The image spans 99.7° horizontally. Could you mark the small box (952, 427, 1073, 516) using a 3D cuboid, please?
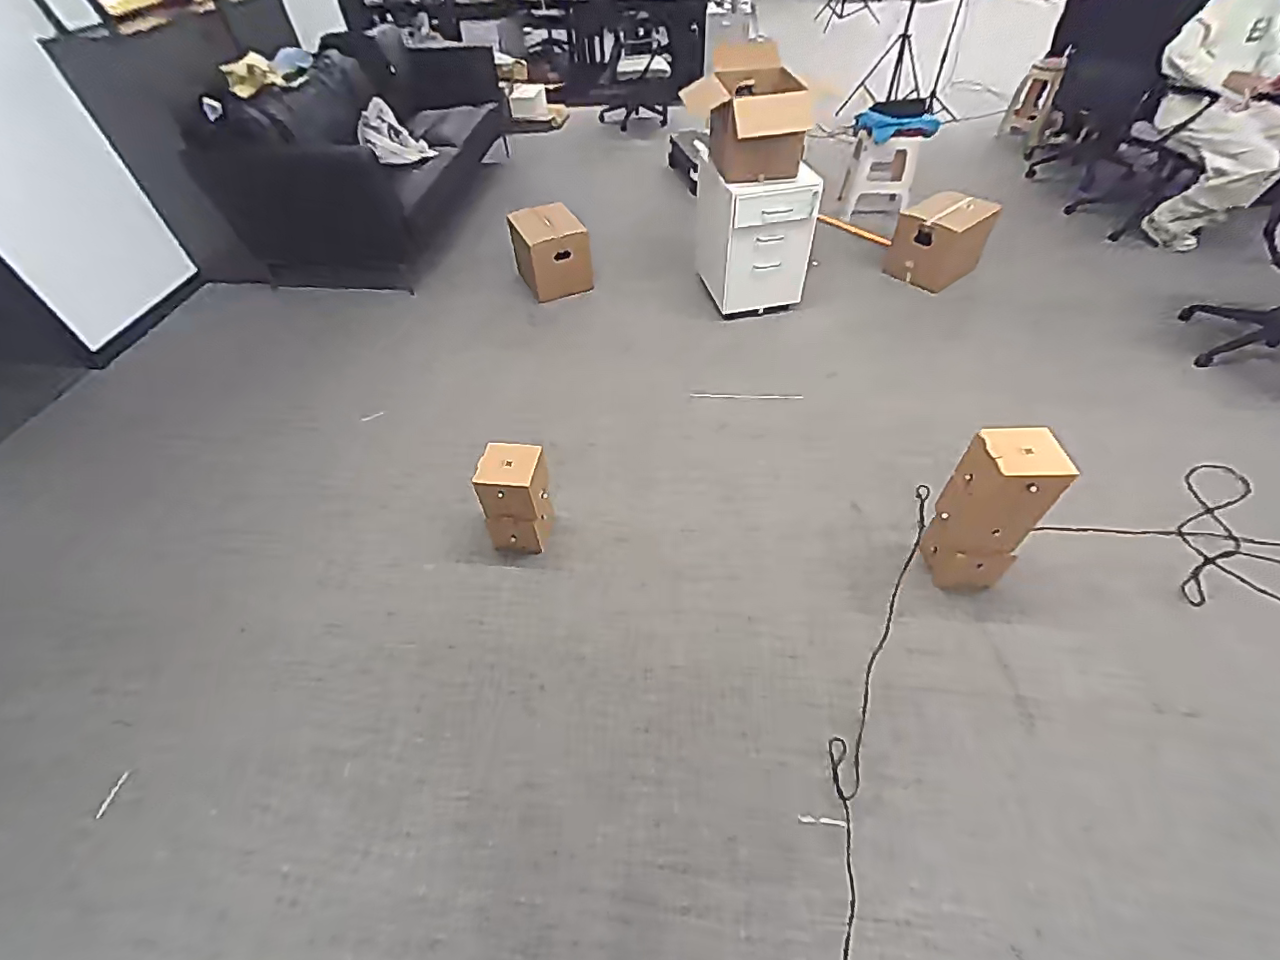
[{"bbox_3d":[0.948,-0.020,1.396,0.179,0.176,0.168,-2,48,3],"label":"small box"}]

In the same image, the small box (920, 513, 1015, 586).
[{"bbox_3d":[0.972,0.208,1.629,0.179,0.176,0.168,-3,48,1],"label":"small box"}]

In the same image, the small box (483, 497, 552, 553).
[{"bbox_3d":[-0.398,0.126,1.797,0.168,0.176,0.179,3,49,7],"label":"small box"}]

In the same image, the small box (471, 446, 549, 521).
[{"bbox_3d":[-0.396,0.013,1.679,0.179,0.176,0.168,4,49,6],"label":"small box"}]

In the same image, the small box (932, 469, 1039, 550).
[{"bbox_3d":[0.961,0.085,1.520,0.179,0.176,0.168,-1,47,4],"label":"small box"}]
